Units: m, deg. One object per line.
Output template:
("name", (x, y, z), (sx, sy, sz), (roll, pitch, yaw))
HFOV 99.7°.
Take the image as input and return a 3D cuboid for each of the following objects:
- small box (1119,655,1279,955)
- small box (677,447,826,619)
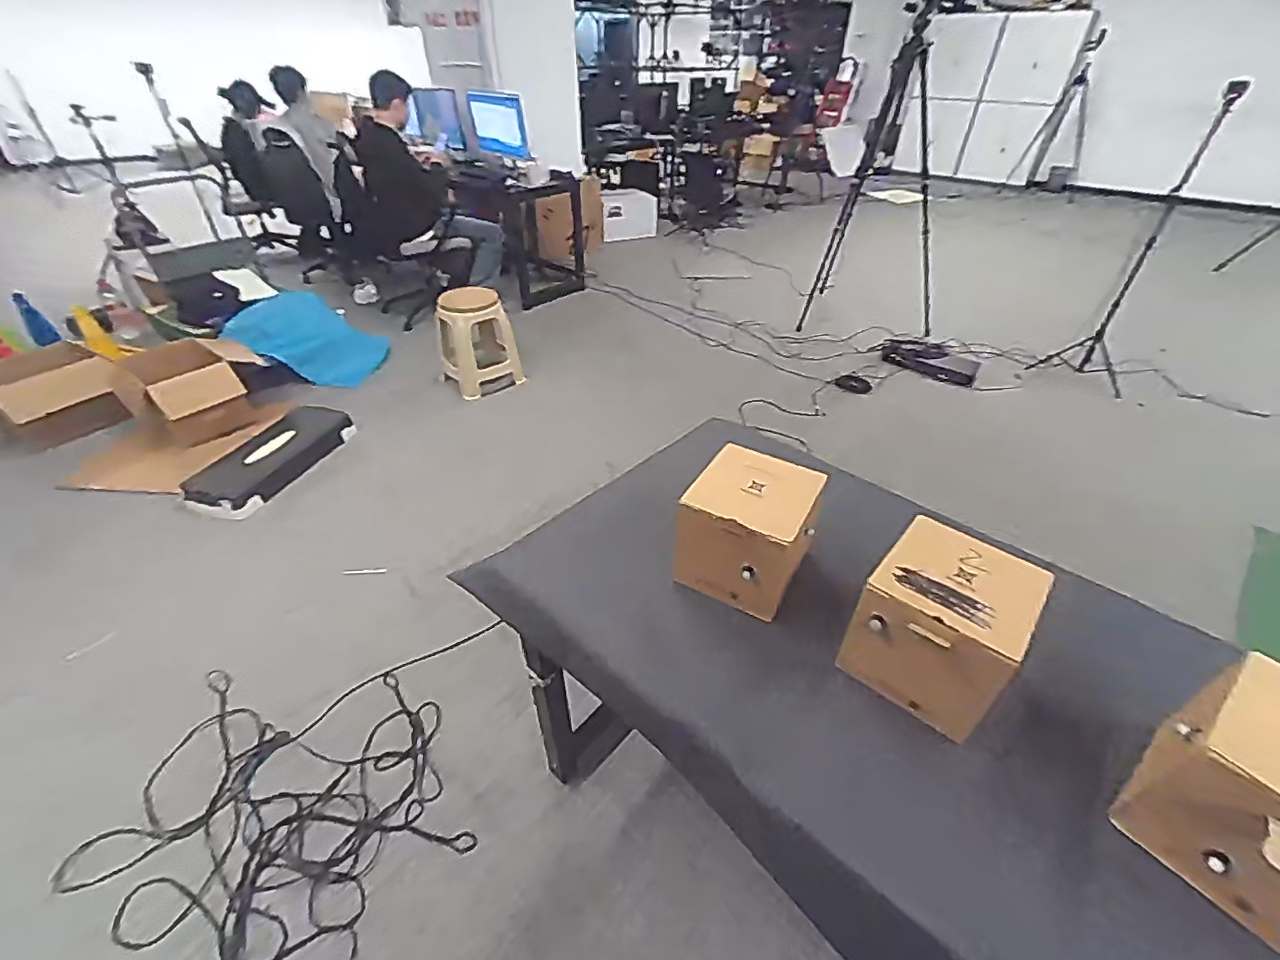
("small box", (0.631, 0.318, 0.533), (0.179, 0.176, 0.168), (-25, 45, -29))
("small box", (0.167, 0.081, 0.836), (0.168, 0.176, 0.179), (21, 41, 23))
